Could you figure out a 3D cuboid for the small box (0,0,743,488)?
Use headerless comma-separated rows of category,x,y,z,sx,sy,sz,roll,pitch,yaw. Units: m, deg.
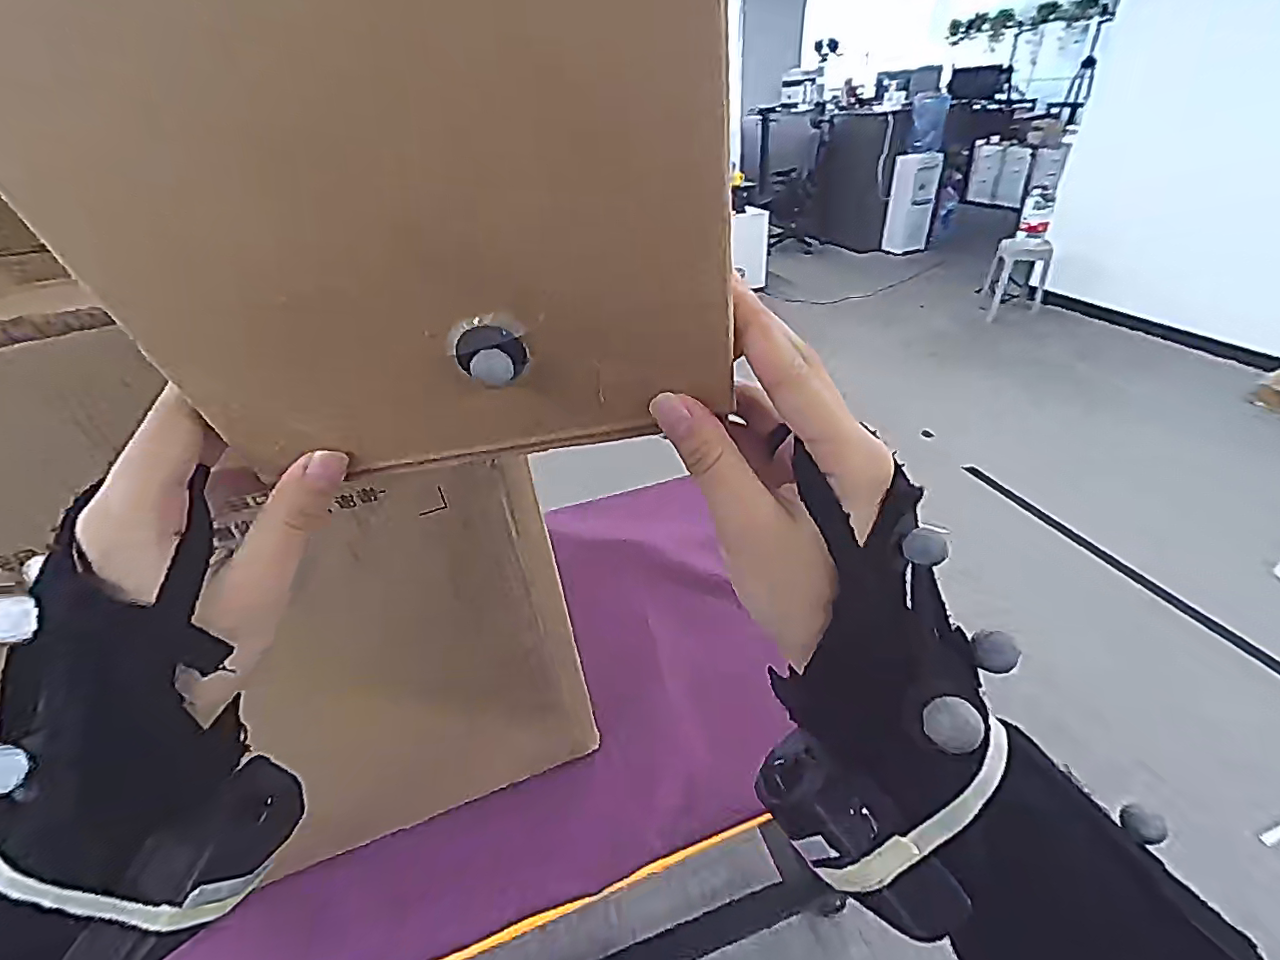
small box,-0.064,-0.123,0.199,0.179,0.176,0.168,-8,45,2
